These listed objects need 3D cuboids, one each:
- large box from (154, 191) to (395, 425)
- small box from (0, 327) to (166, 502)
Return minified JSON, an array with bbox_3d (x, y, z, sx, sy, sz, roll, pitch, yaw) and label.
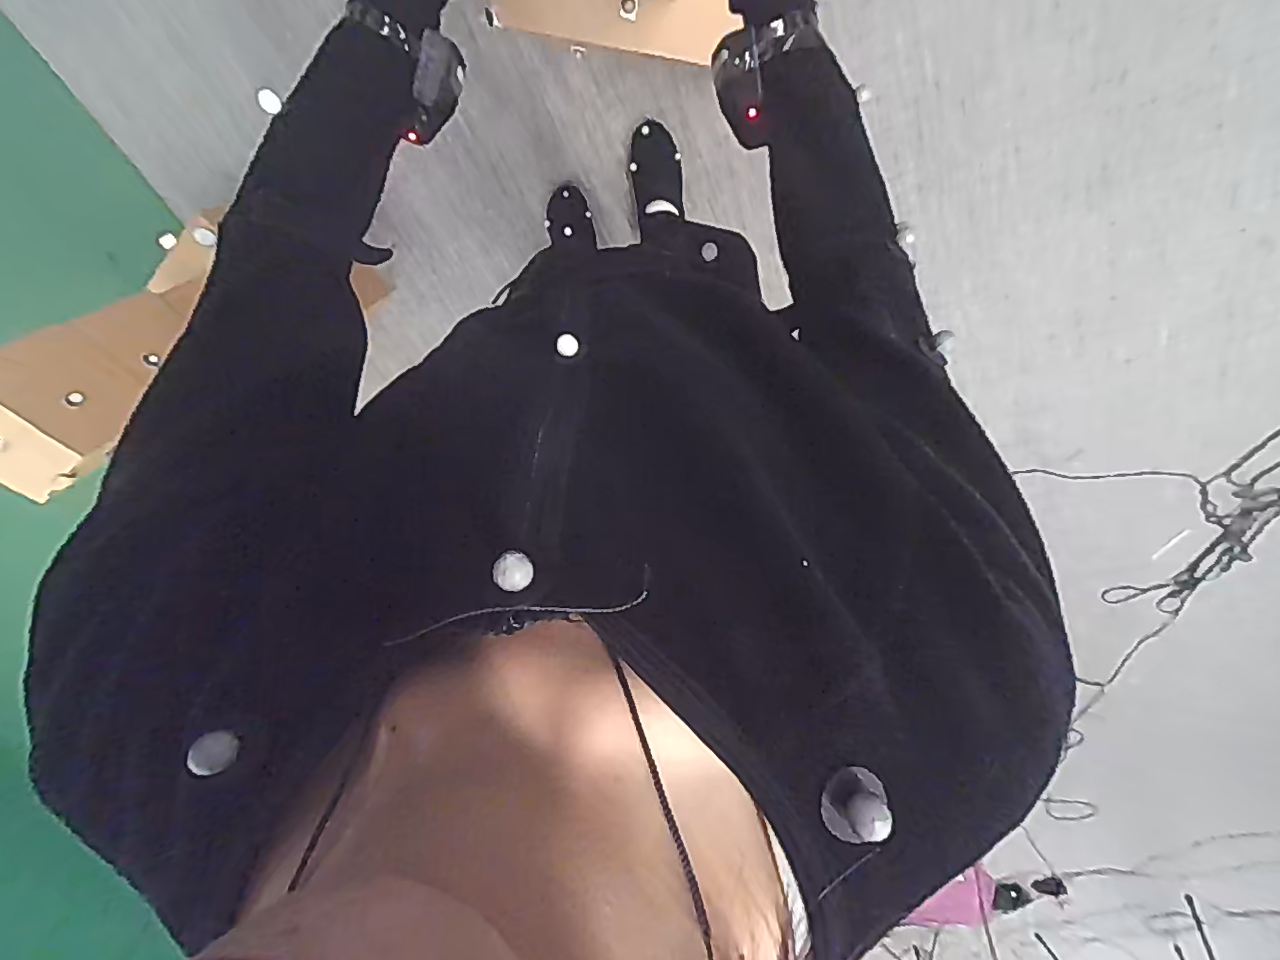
[{"bbox_3d":[-0.892,-0.418,1.321,0.408,0.320,0.320,-31,116,25],"label":"large box"},{"bbox_3d":[-0.908,-0.104,0.841,0.168,0.176,0.179,-28,121,22],"label":"small box"}]
